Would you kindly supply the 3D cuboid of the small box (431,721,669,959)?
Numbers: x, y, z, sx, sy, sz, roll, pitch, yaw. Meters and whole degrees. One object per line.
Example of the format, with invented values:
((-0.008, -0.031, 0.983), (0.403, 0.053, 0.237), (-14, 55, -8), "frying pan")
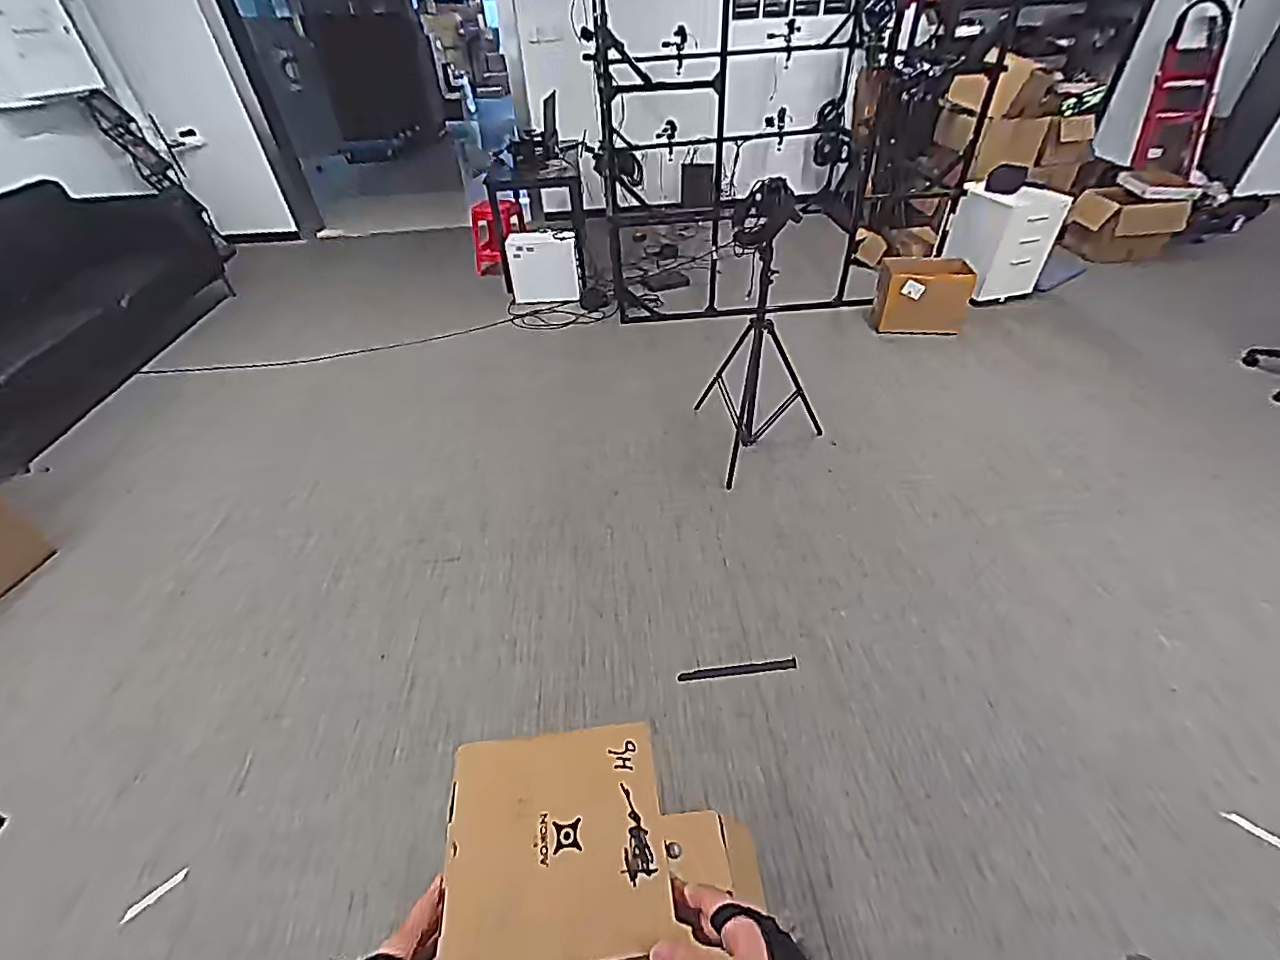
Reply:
((-0.074, 0.347, 0.499), (0.179, 0.176, 0.168), (-4, 45, -7), "small box")
